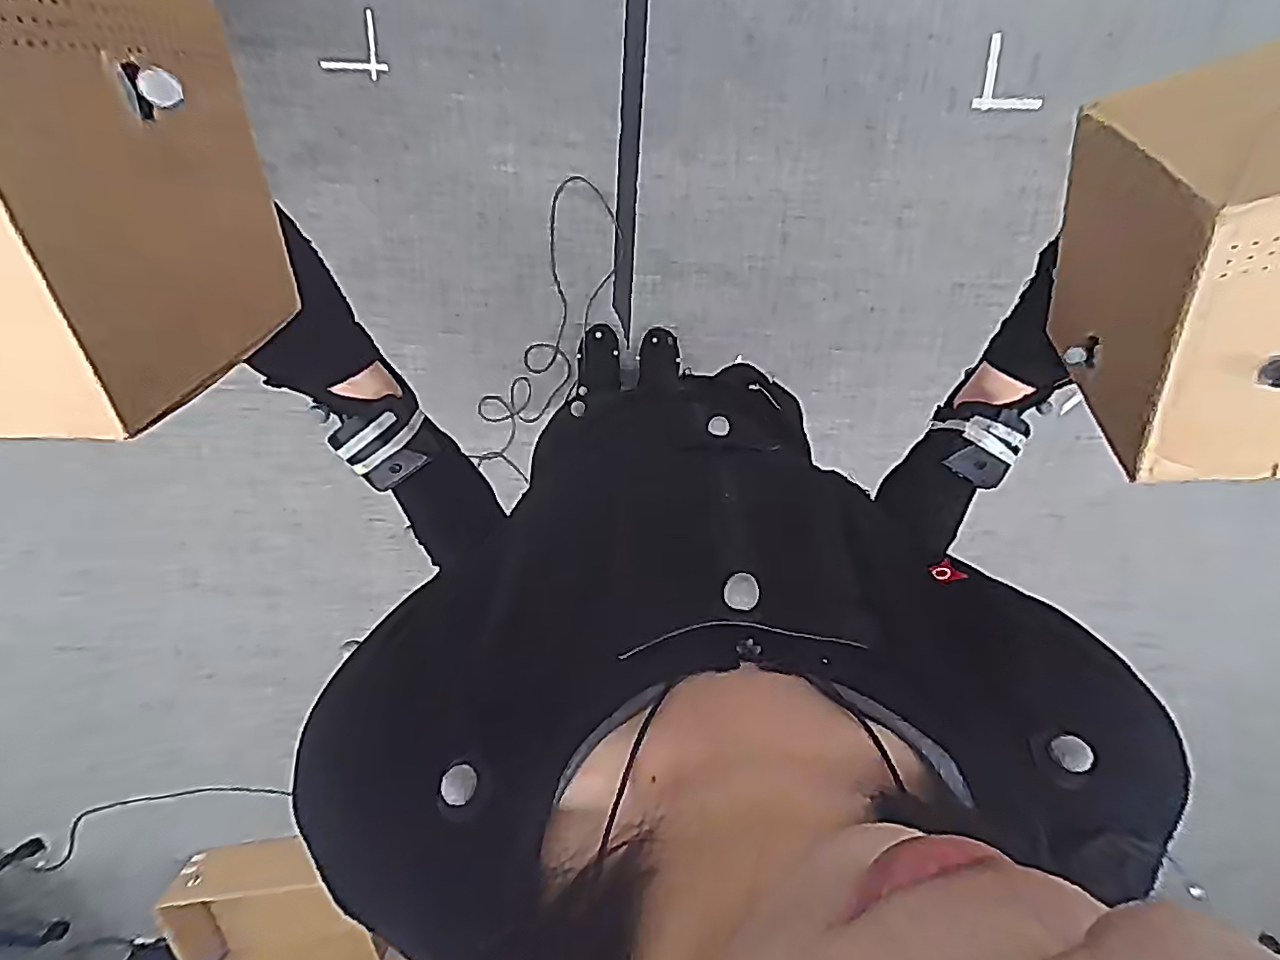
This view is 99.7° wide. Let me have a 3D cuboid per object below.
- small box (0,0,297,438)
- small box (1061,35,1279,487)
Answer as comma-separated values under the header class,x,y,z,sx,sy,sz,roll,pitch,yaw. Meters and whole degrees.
class,x,y,z,sx,sy,sz,roll,pitch,yaw
small box,-0.293,-0.135,0.233,0.168,0.179,0.176,2,126,-6
small box,0.353,-0.121,0.280,0.168,0.179,0.176,-6,134,23
